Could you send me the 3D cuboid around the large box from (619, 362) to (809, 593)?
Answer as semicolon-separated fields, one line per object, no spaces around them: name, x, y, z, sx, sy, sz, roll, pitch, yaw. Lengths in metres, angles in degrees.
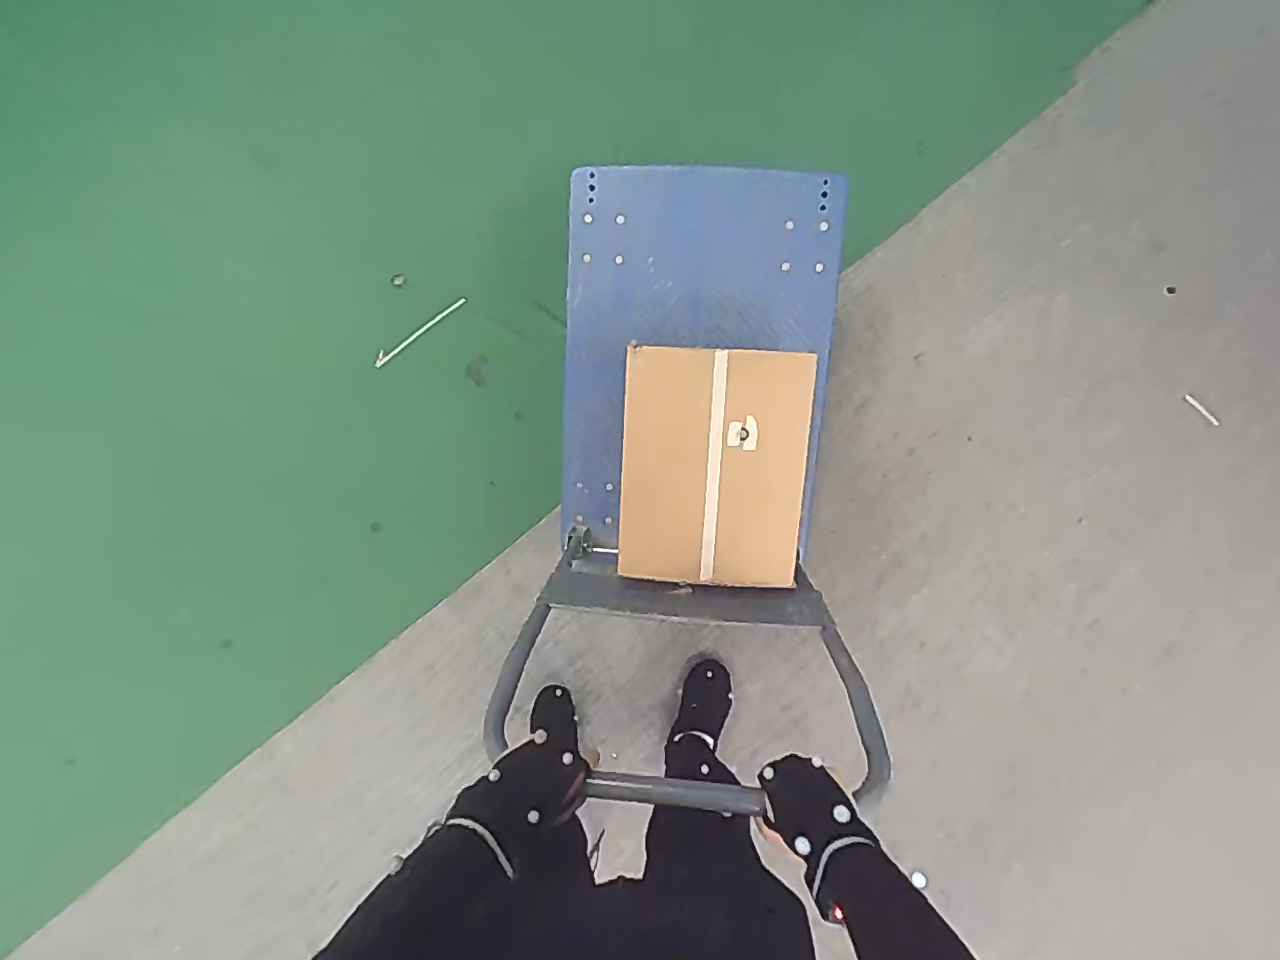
large box;0.137;-0.022;1.092;0.320;0.320;0.408;4;100;3
